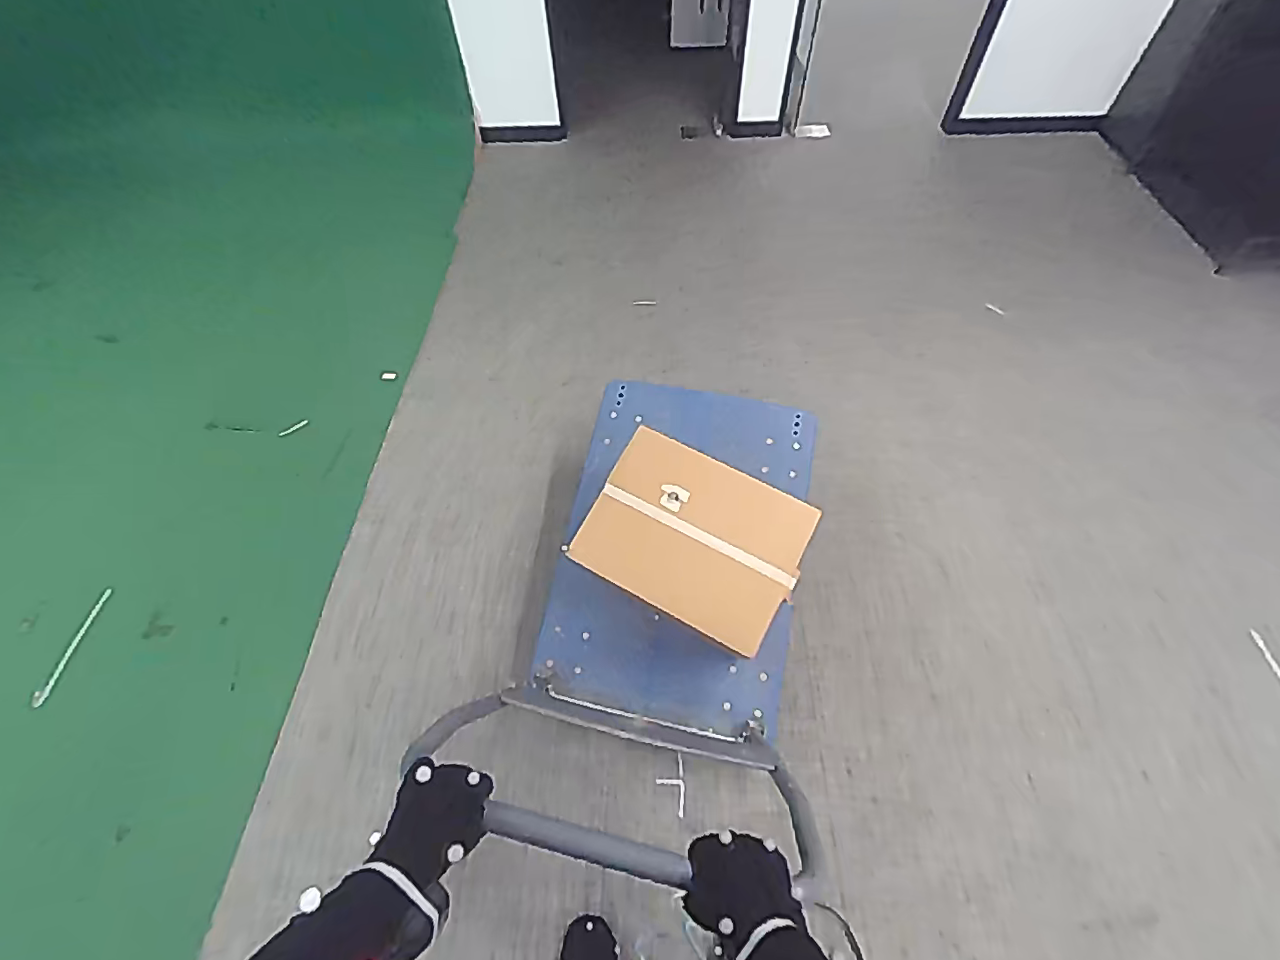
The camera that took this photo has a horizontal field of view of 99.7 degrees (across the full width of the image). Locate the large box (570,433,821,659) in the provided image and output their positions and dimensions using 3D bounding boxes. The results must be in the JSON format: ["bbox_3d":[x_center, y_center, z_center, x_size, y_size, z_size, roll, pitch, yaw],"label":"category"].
[{"bbox_3d":[0.123,0.156,1.183,0.408,0.320,0.320,26,76,14],"label":"large box"}]
